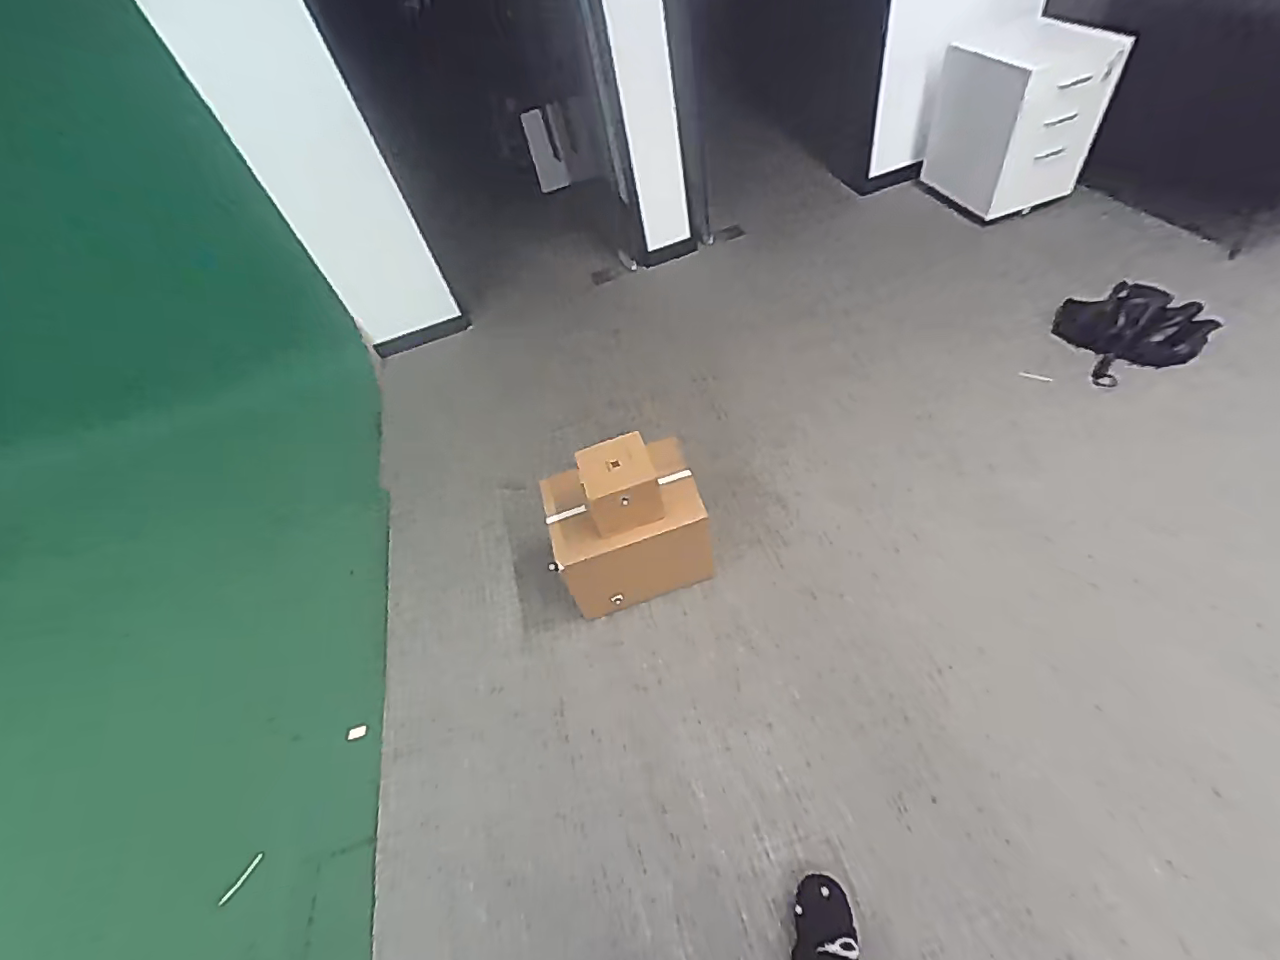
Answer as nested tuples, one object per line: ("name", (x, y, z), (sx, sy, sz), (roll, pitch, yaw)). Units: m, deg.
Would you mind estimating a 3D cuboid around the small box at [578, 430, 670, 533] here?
("small box", (-0.038, 0.009, 1.366), (0.179, 0.176, 0.168), (-20, 51, -3))
